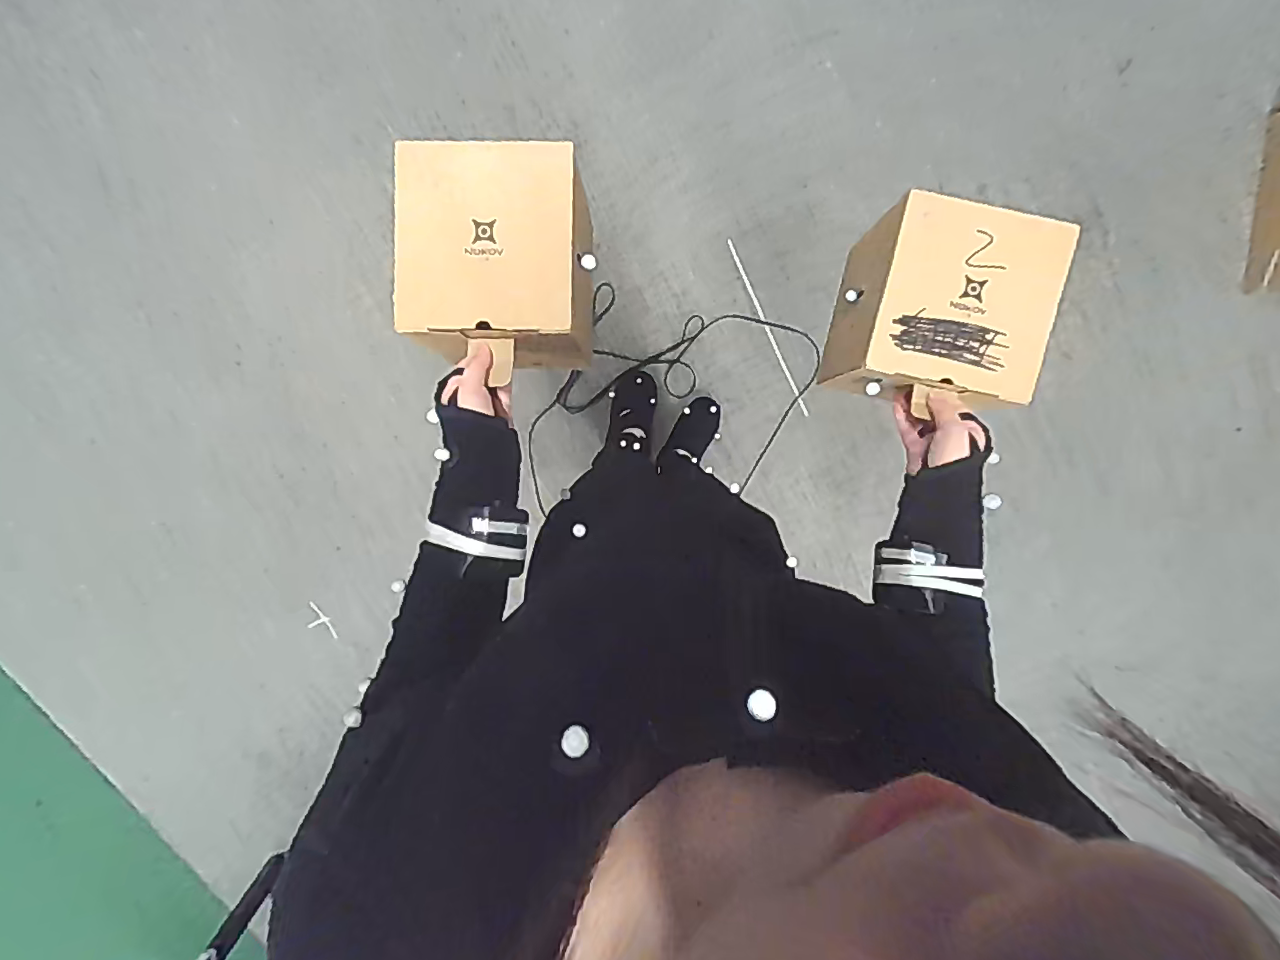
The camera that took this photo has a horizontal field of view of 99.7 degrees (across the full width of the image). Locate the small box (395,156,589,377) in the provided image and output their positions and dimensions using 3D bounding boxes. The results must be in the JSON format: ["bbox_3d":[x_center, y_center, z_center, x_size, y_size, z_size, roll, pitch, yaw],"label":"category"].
[{"bbox_3d":[-0.148,-0.217,0.589,0.168,0.176,0.179,0,90,1],"label":"small box"}]
